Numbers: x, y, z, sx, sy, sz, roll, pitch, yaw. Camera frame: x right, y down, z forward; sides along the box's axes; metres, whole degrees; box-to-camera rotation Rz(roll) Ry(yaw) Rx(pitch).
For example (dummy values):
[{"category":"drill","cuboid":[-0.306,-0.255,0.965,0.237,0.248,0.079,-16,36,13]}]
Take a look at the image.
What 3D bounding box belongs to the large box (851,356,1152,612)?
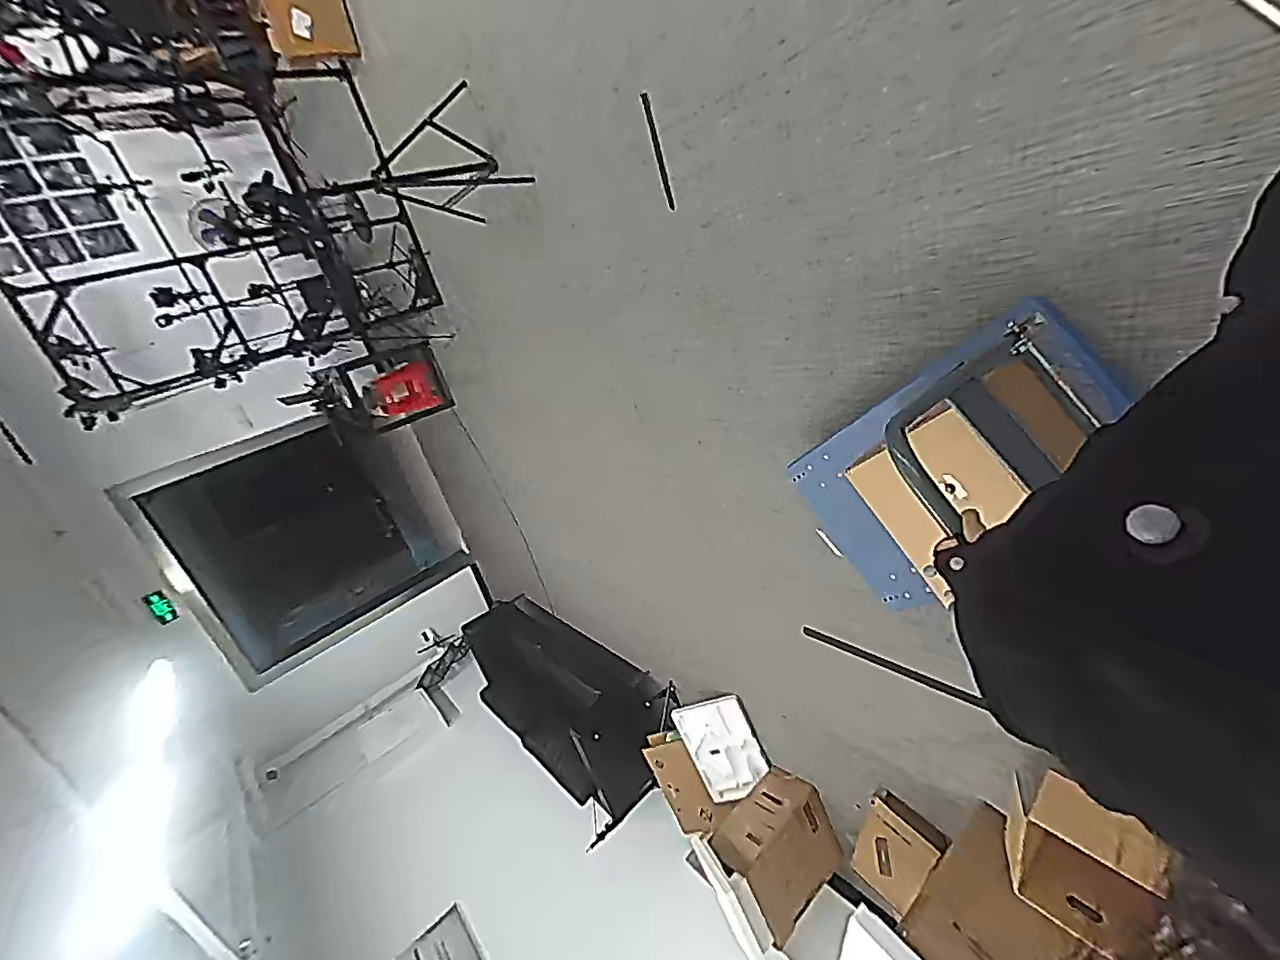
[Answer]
[{"category":"large box","cuboid":[0.766,0.012,1.175,0.408,0.320,0.320,56,148,9]}]
